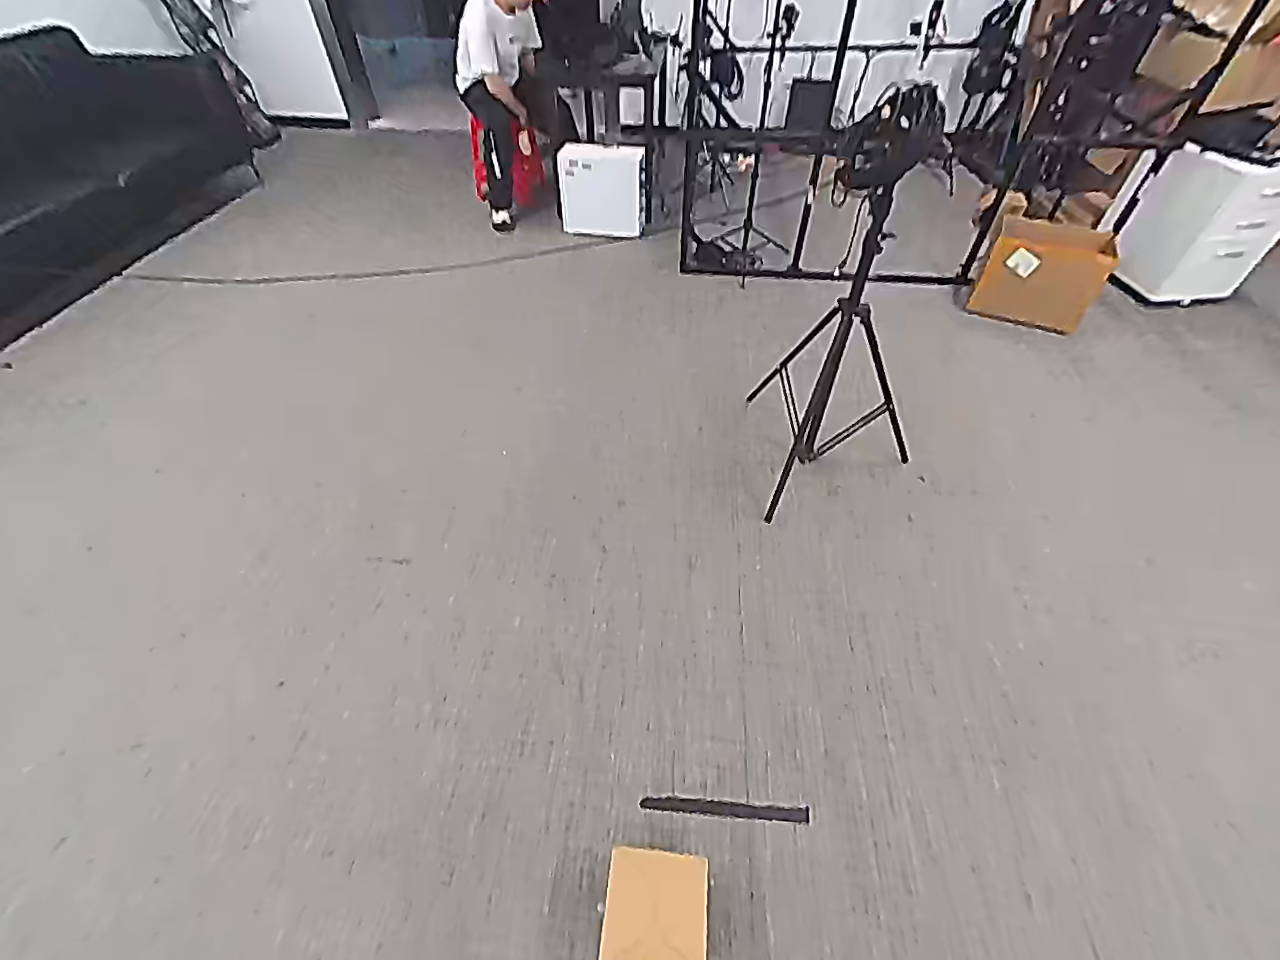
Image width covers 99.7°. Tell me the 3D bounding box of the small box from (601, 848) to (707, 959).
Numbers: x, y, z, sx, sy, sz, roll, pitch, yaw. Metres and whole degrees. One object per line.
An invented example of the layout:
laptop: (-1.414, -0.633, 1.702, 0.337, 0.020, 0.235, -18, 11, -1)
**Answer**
small box: (0.030, 0.786, 0.981, 0.179, 0.176, 0.168, 5, 47, 4)
